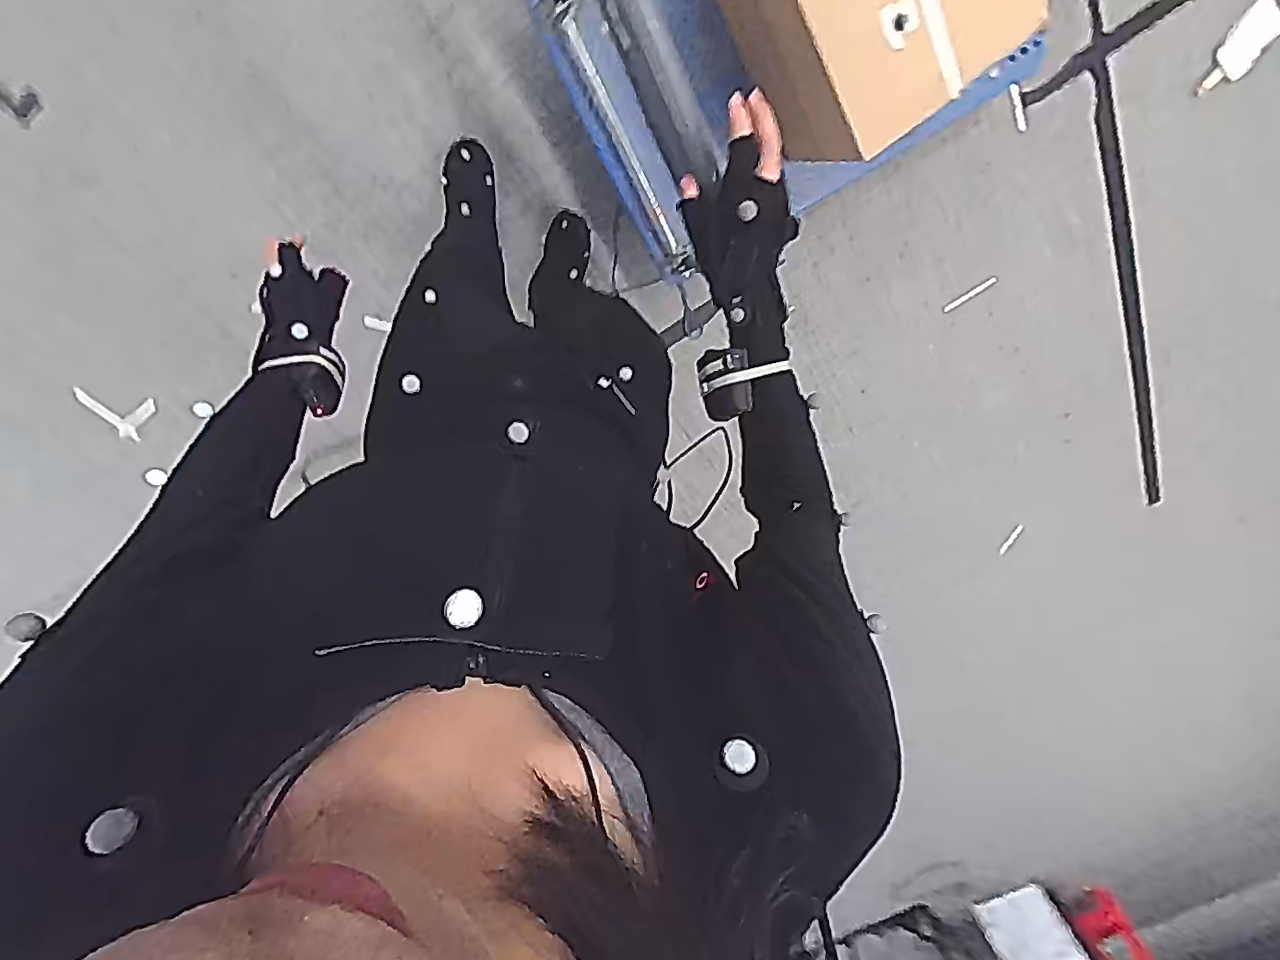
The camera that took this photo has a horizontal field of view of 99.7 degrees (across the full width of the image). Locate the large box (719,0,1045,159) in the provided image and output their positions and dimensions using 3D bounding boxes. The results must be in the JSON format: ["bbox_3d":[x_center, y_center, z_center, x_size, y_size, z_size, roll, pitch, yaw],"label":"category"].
[{"bbox_3d":[0.348,-0.802,0.869,0.320,0.320,0.408,-34,120,12],"label":"large box"}]
